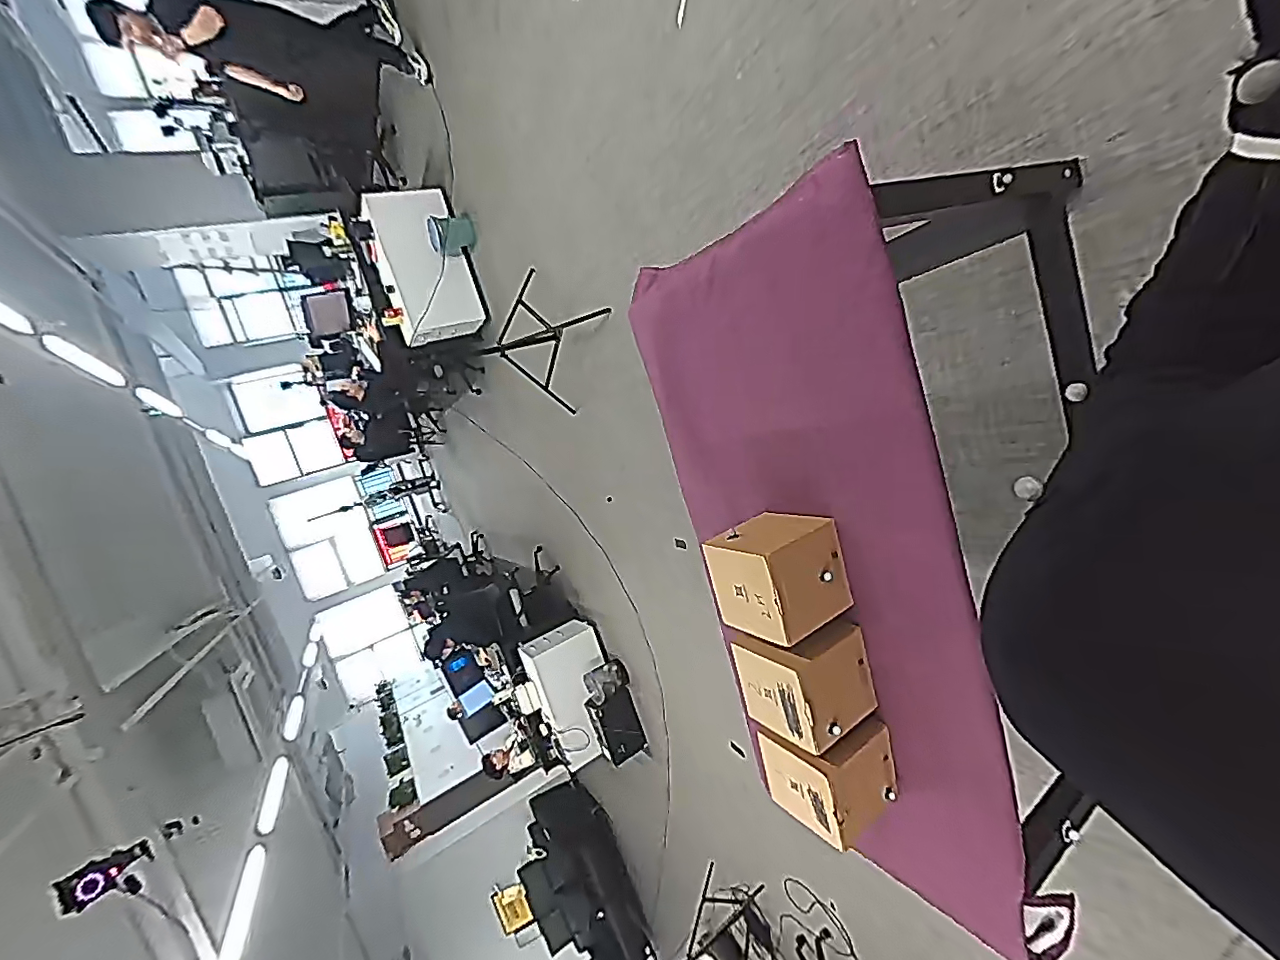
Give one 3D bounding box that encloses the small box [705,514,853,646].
[{"bbox_3d":[0.249,0.167,0.975,0.179,0.176,0.168,1,111,61],"label":"small box"}]
